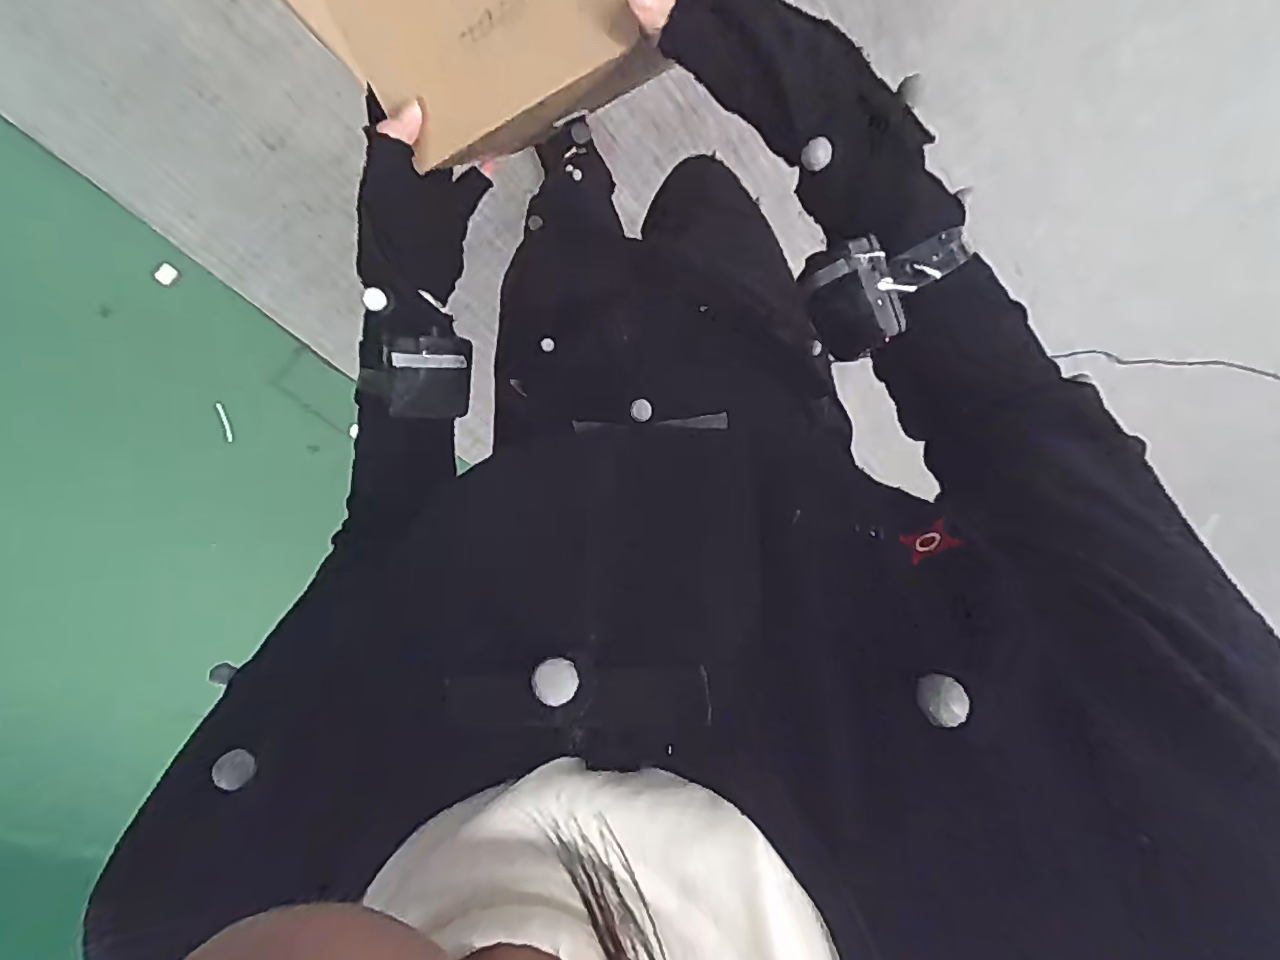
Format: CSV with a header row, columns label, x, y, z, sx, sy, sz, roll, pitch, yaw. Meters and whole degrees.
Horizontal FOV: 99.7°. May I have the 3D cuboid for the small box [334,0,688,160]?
label,x,y,z,sx,sy,sz,roll,pitch,yaw
small box,-0.083,-0.336,0.347,0.168,0.176,0.179,-14,119,25
